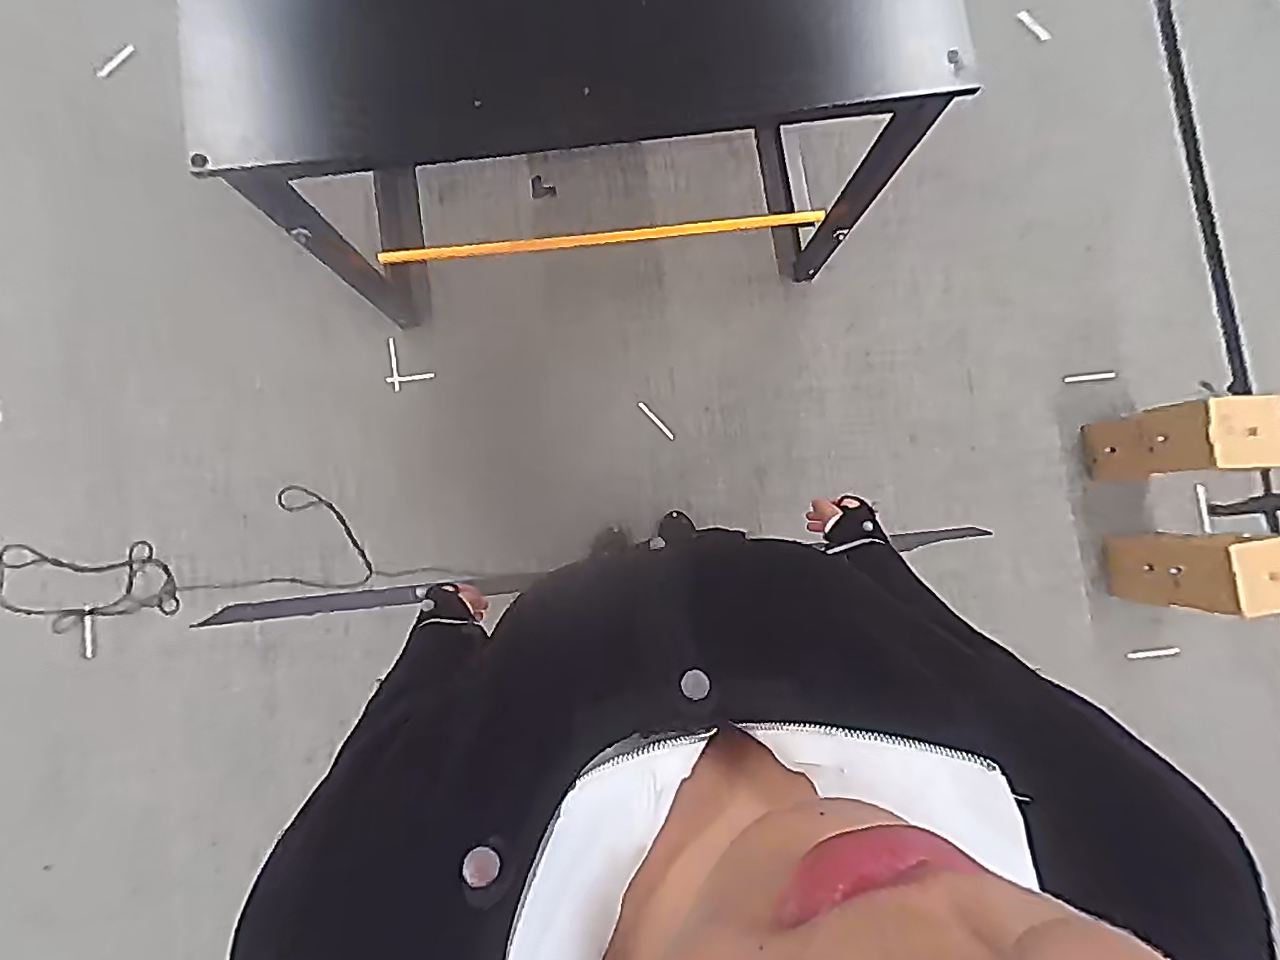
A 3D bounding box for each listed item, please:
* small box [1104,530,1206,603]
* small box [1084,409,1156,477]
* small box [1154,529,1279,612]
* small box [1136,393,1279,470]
[{"bbox_3d":[1.412,0.227,1.468,0.168,0.176,0.179,-4,88,-1],"label":"small box"},{"bbox_3d":[1.368,-0.104,1.485,0.179,0.176,0.168,-8,86,-1],"label":"small box"},{"bbox_3d":[1.417,0.212,1.306,0.179,0.176,0.168,-9,86,-1],"label":"small box"},{"bbox_3d":[1.376,-0.113,1.319,0.179,0.176,0.168,-2,86,-2],"label":"small box"}]
